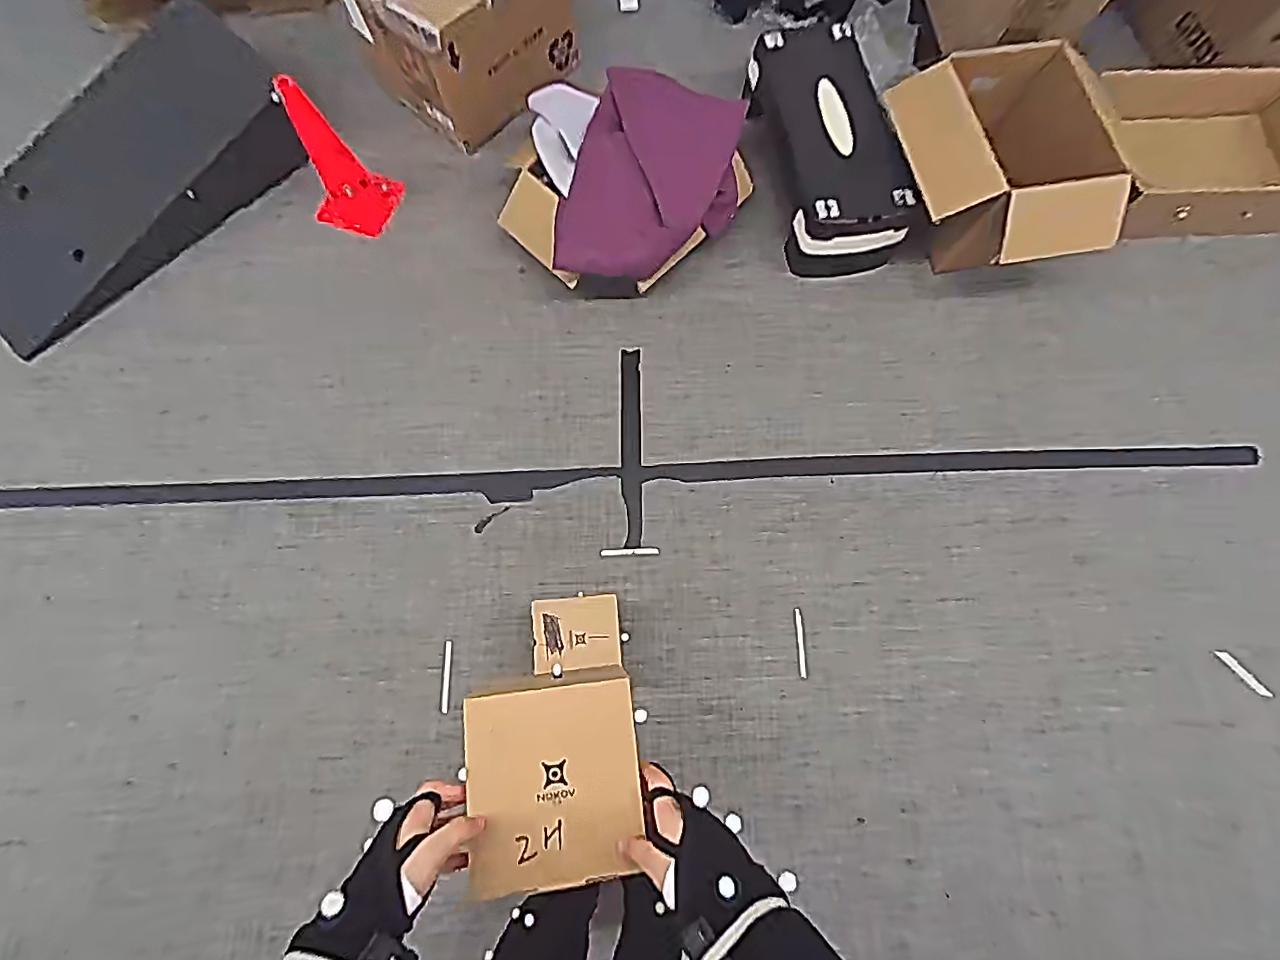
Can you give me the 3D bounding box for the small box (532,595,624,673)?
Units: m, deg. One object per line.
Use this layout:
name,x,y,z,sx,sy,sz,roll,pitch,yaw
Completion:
small box,-0.126,0.338,1.141,0.179,0.176,0.168,-4,75,-3

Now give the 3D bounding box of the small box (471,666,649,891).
small box,-0.087,0.305,0.597,0.168,0.176,0.179,-5,76,-6
